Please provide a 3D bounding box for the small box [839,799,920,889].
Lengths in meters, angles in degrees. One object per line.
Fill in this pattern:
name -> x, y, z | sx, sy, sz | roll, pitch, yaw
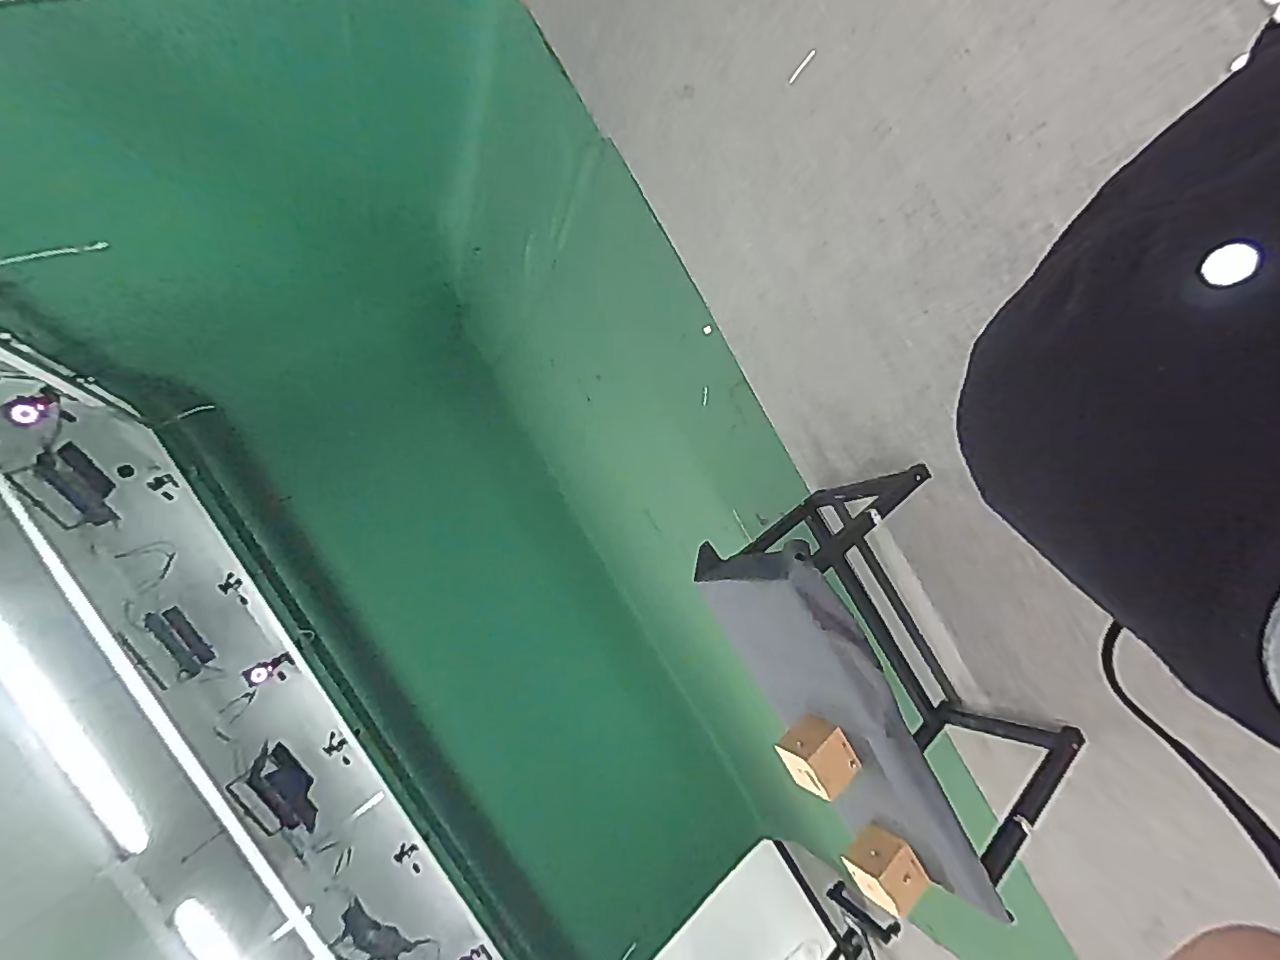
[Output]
small box -> 0.852, 1.275, 1.909 | 0.168, 0.176, 0.179 | 59, 155, -4

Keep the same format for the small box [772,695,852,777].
small box -> 0.601, 0.875, 1.867 | 0.168, 0.176, 0.179 | 58, 157, -6
